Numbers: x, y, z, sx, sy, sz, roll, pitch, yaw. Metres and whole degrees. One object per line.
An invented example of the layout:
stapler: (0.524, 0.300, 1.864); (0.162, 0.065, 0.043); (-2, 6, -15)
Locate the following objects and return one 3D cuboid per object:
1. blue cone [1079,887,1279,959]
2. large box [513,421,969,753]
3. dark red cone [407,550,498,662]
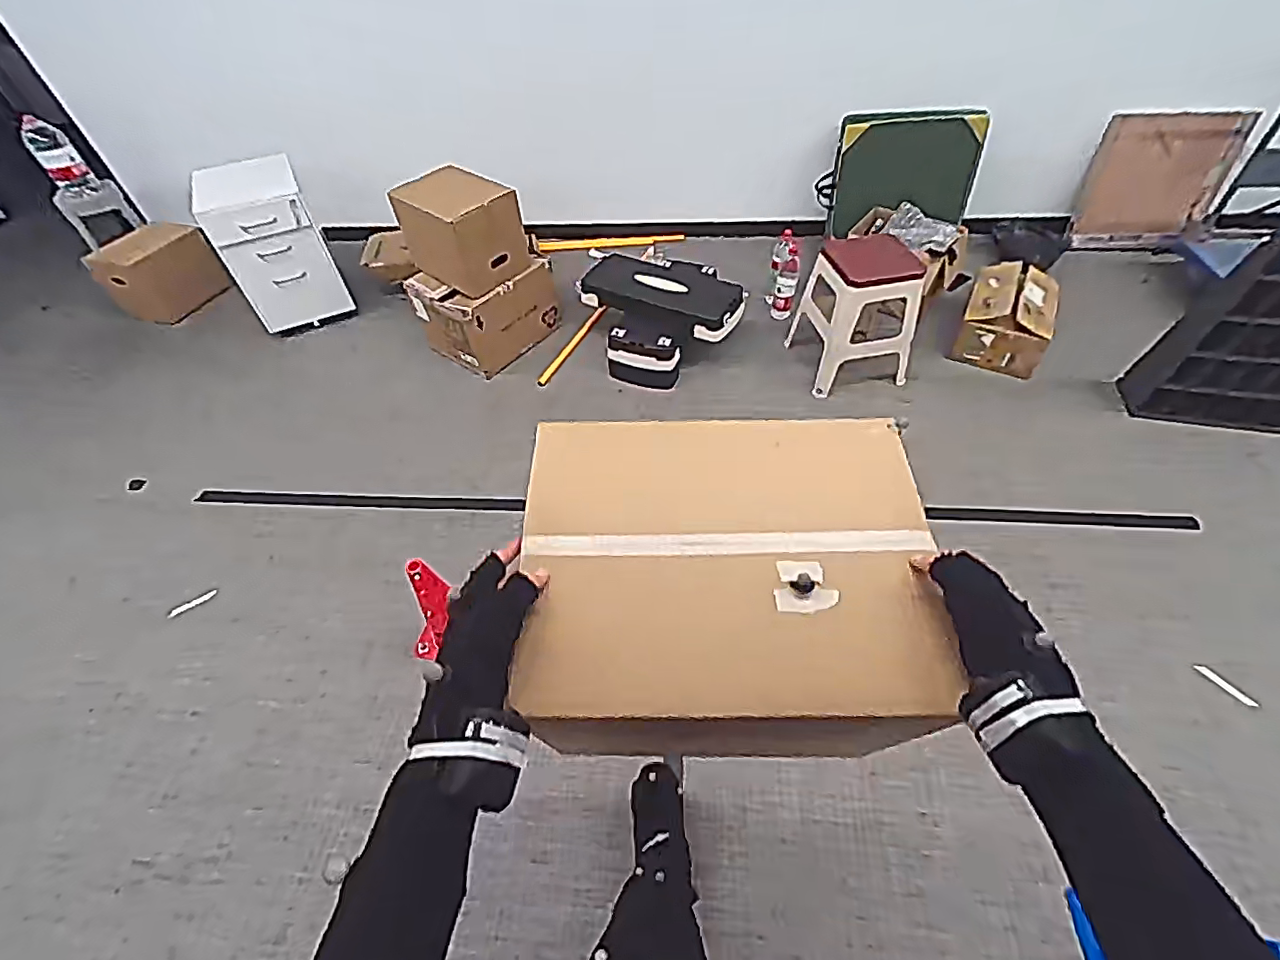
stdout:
blue cone: (0.985, 0.823, 0.940); (0.192, 0.380, 0.193); (5, 51, 6)
large box: (0.085, 0.145, 0.667); (0.408, 0.320, 0.320); (0, 58, 1)
dark red cone: (-0.530, 0.308, 1.422); (0.201, 0.394, 0.202); (7, 51, 8)
